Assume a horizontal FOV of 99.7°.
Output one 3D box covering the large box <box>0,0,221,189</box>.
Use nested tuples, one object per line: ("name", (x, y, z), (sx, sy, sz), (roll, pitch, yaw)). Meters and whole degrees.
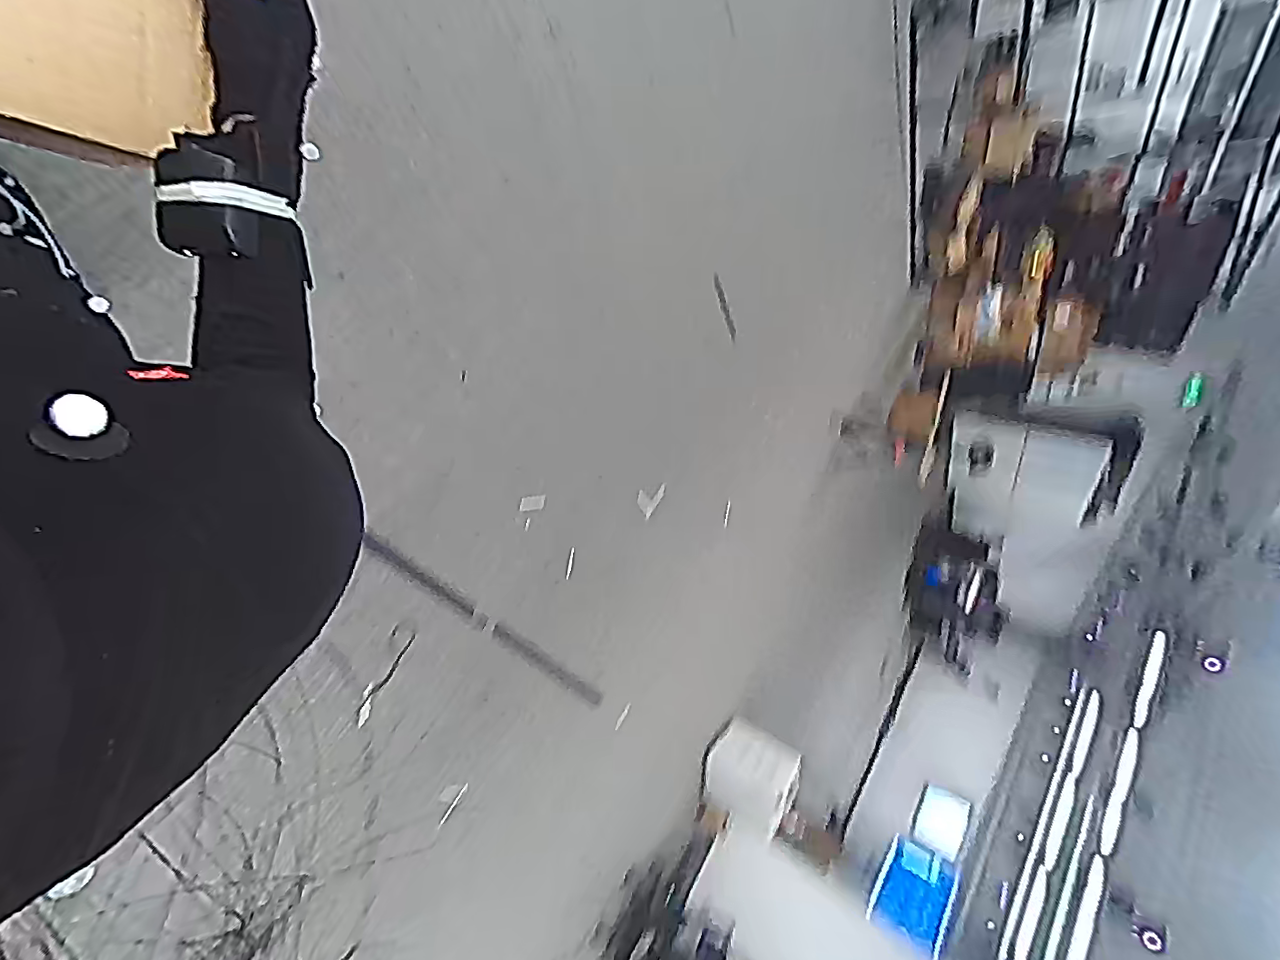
("large box", (-0.522, -0.394, 0.292), (0.408, 0.320, 0.320), (-7, 117, -54))
